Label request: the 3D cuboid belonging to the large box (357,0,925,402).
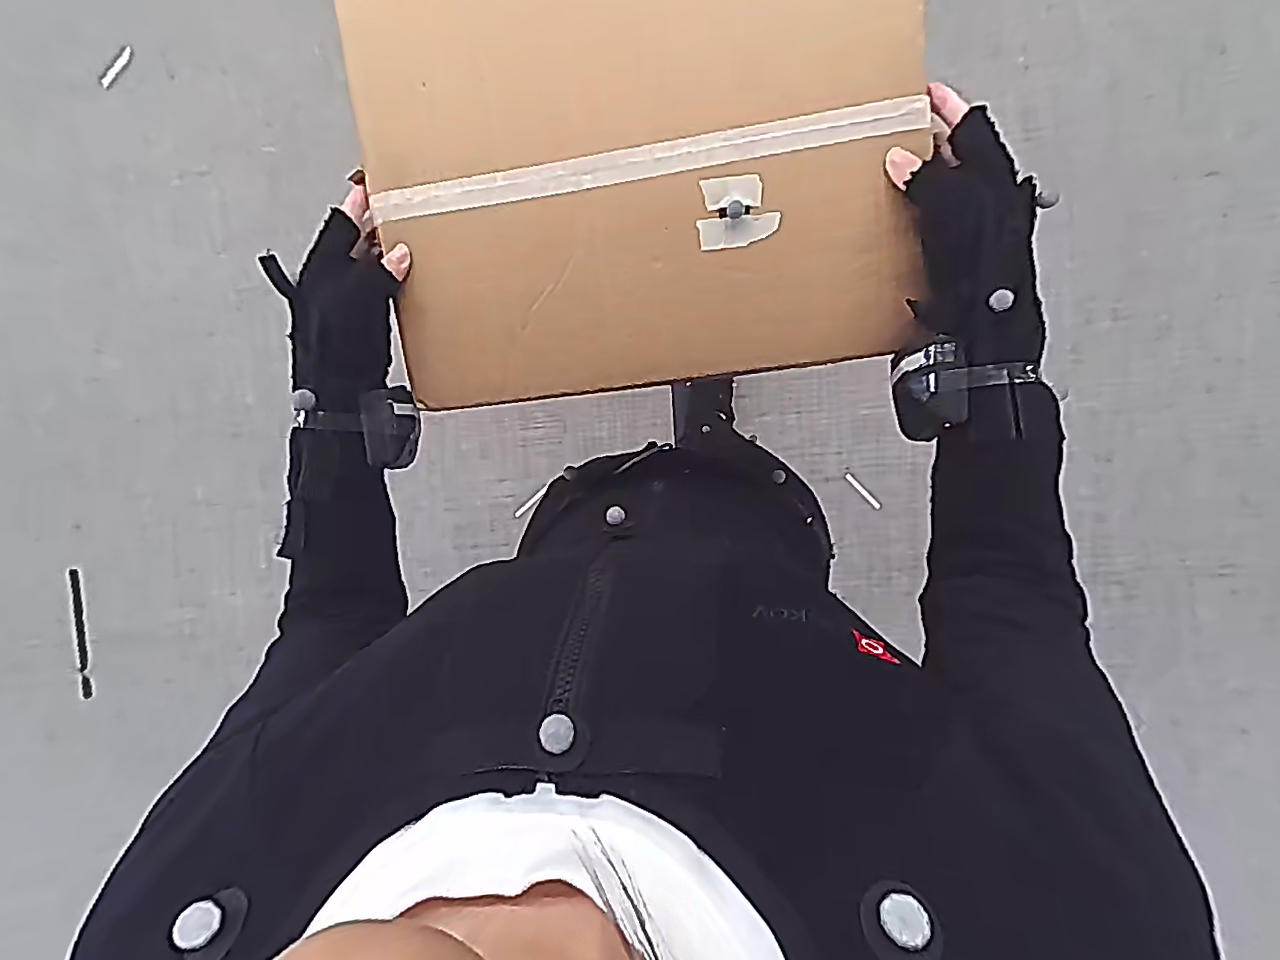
[{"bbox_3d":[0.012,-0.264,0.553,0.408,0.320,0.320,-6,100,6],"label":"large box"}]
